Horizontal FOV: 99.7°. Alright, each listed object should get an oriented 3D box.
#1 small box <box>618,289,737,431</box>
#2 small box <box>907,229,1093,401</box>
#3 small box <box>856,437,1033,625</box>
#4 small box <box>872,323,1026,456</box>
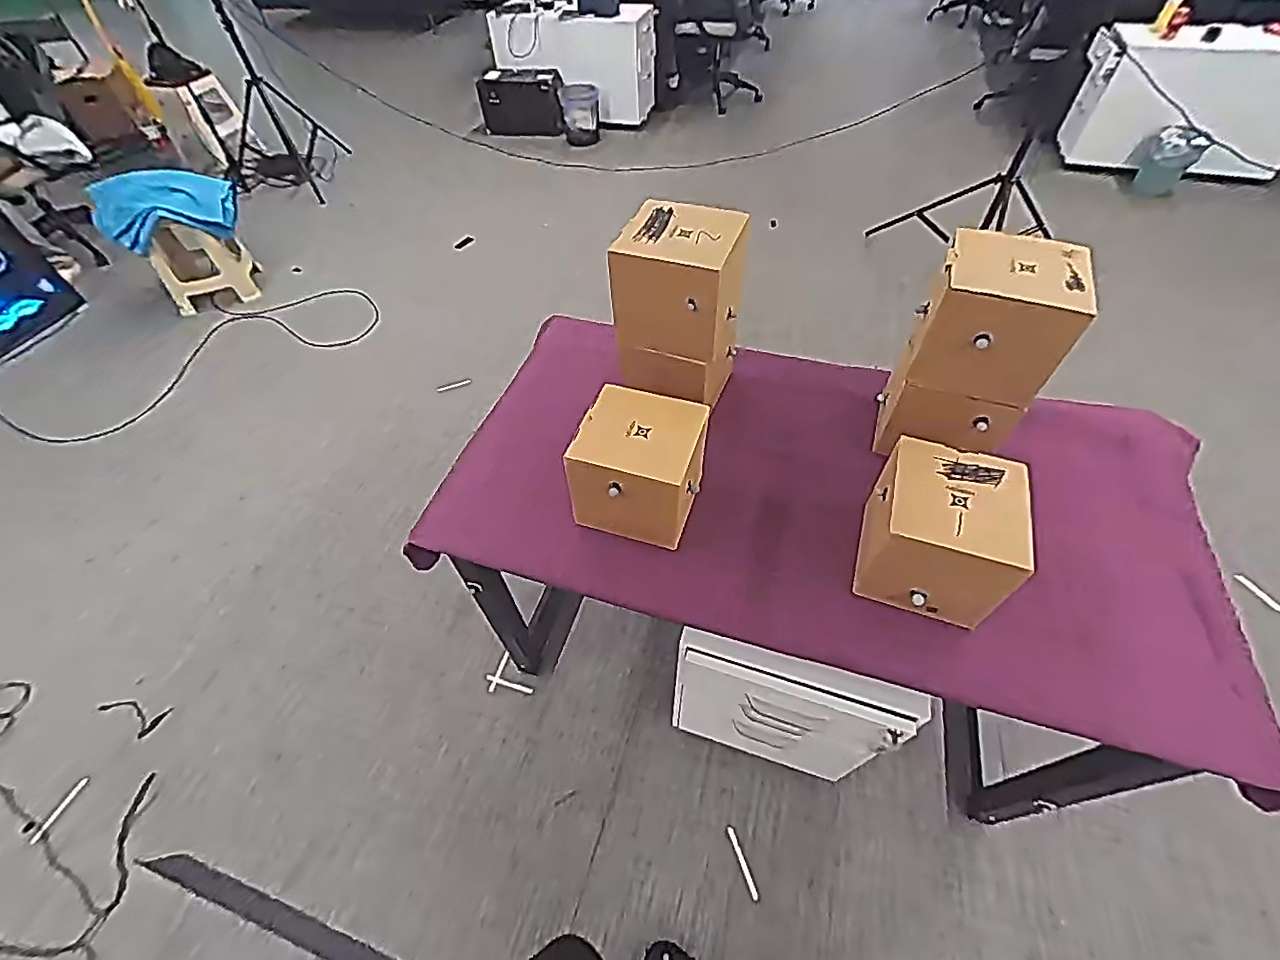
[{"bbox_3d":[0.072,-0.224,1.013,0.168,0.176,0.179,17,57,17],"label":"small box"},{"bbox_3d":[0.513,-0.239,0.795,0.179,0.176,0.168,16,56,16],"label":"small box"},{"bbox_3d":[0.417,0.072,0.763,0.168,0.176,0.179,15,53,14],"label":"small box"},{"bbox_3d":[0.521,-0.138,0.924,0.179,0.176,0.168,16,55,15],"label":"small box"}]
